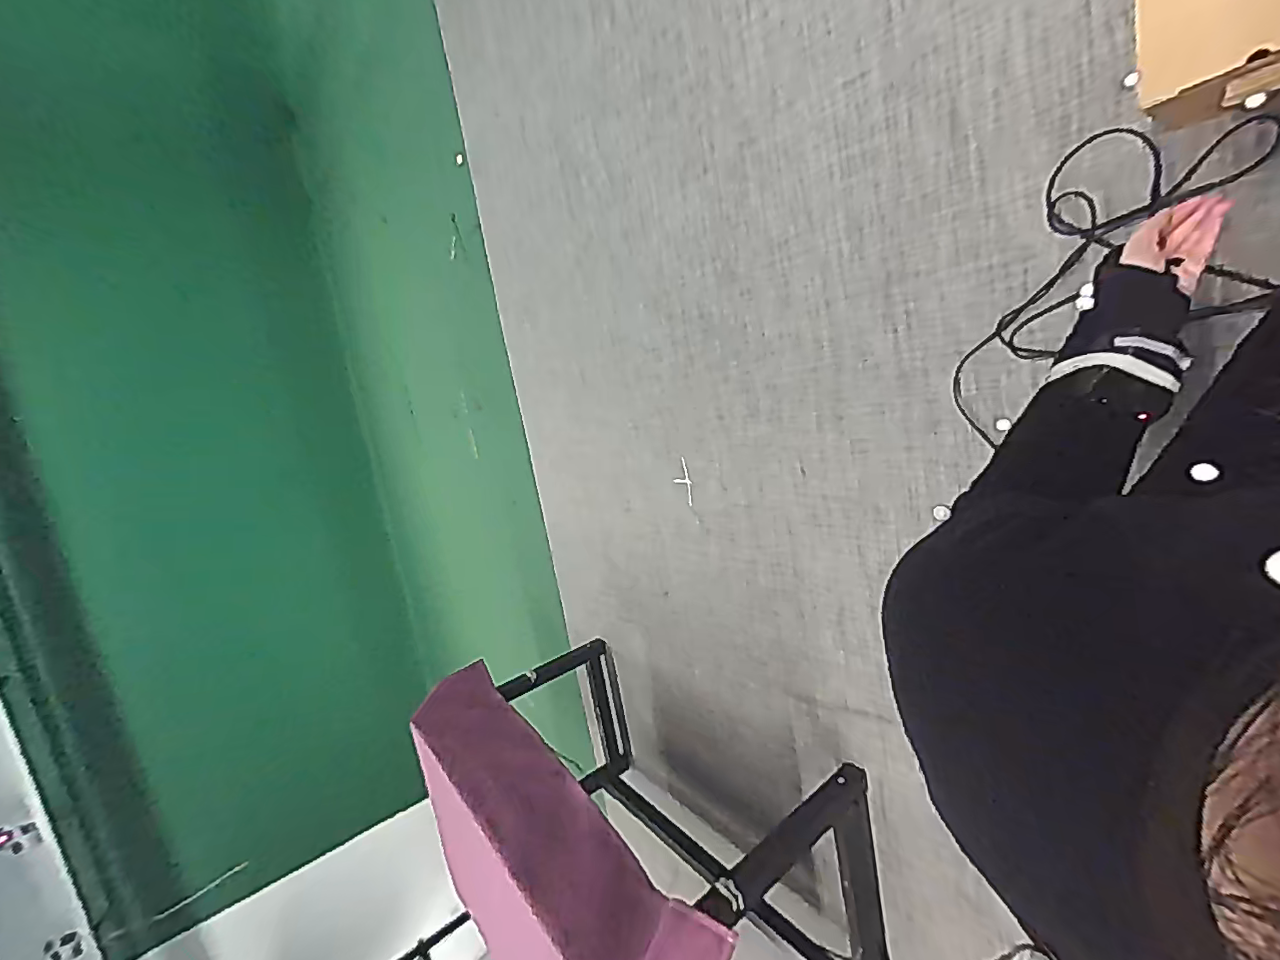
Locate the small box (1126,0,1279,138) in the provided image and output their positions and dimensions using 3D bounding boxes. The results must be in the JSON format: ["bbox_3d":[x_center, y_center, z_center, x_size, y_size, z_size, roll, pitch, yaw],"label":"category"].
[{"bbox_3d":[0.610,-0.476,0.536,0.168,0.176,0.179,3,105,54],"label":"small box"}]
